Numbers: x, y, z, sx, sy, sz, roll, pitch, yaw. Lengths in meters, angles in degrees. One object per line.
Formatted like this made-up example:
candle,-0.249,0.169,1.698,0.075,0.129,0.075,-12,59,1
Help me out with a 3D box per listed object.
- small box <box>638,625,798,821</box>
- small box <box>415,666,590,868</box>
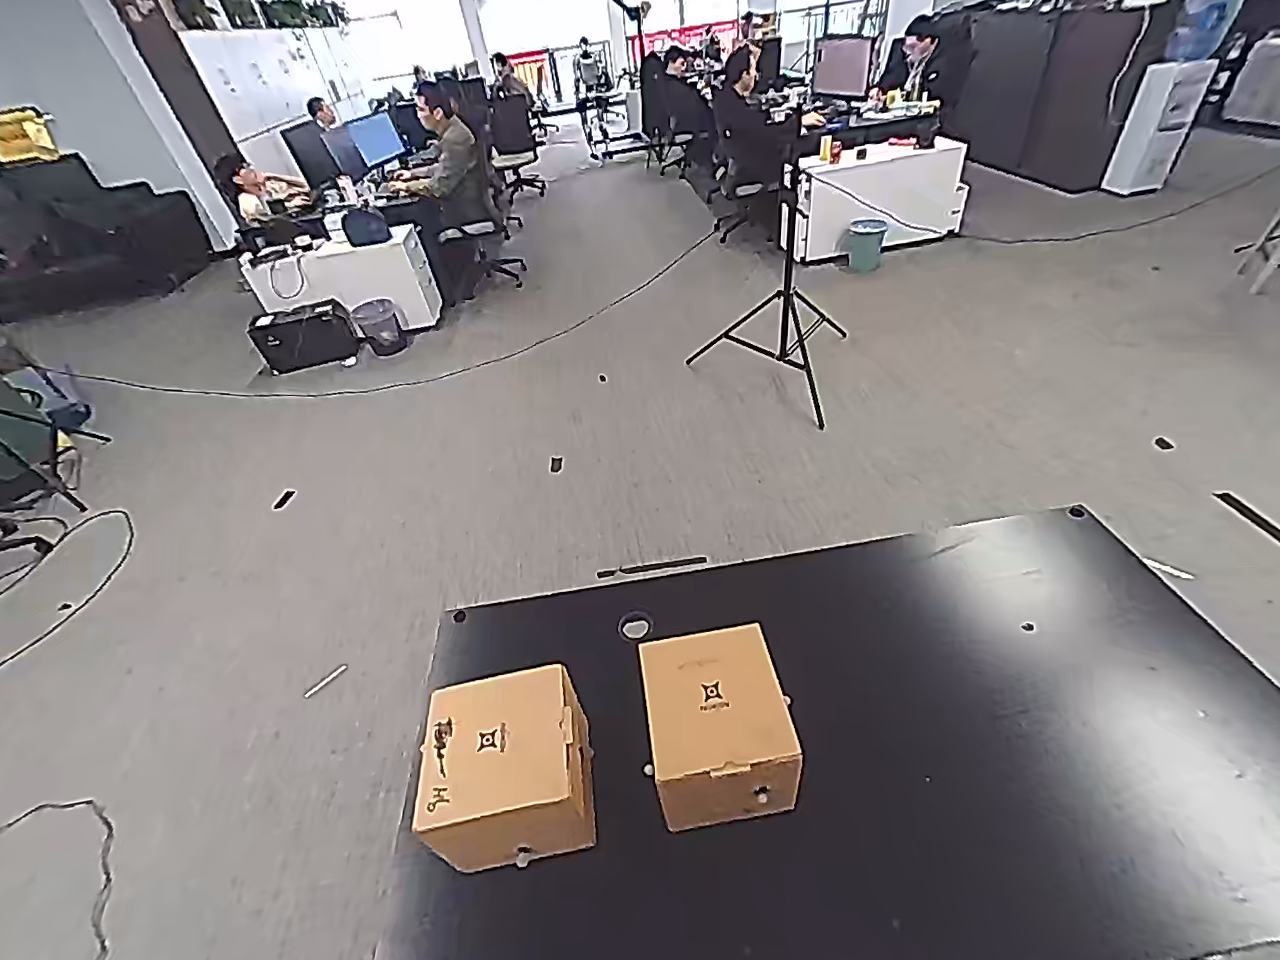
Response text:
small box,0.096,0.322,0.710,0.168,0.176,0.179,-9,40,-2
small box,-0.162,0.369,0.698,0.179,0.176,0.168,-10,40,-3
